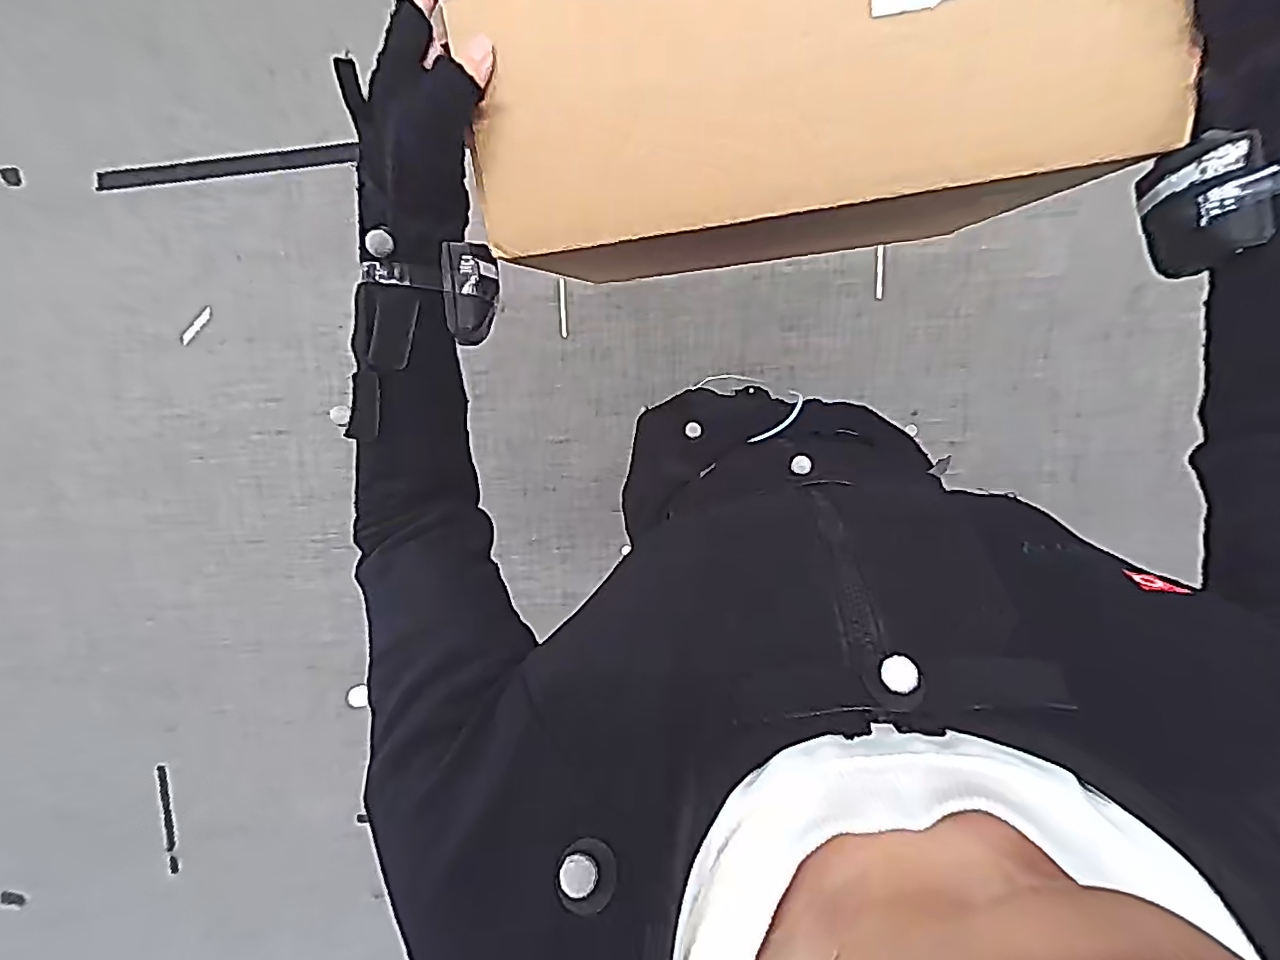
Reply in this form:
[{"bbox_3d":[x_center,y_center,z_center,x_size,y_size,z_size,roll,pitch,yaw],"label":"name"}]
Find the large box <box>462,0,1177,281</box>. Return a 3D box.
[{"bbox_3d":[0.100,-0.365,0.442,0.408,0.320,0.320,-6,106,9],"label":"large box"}]
